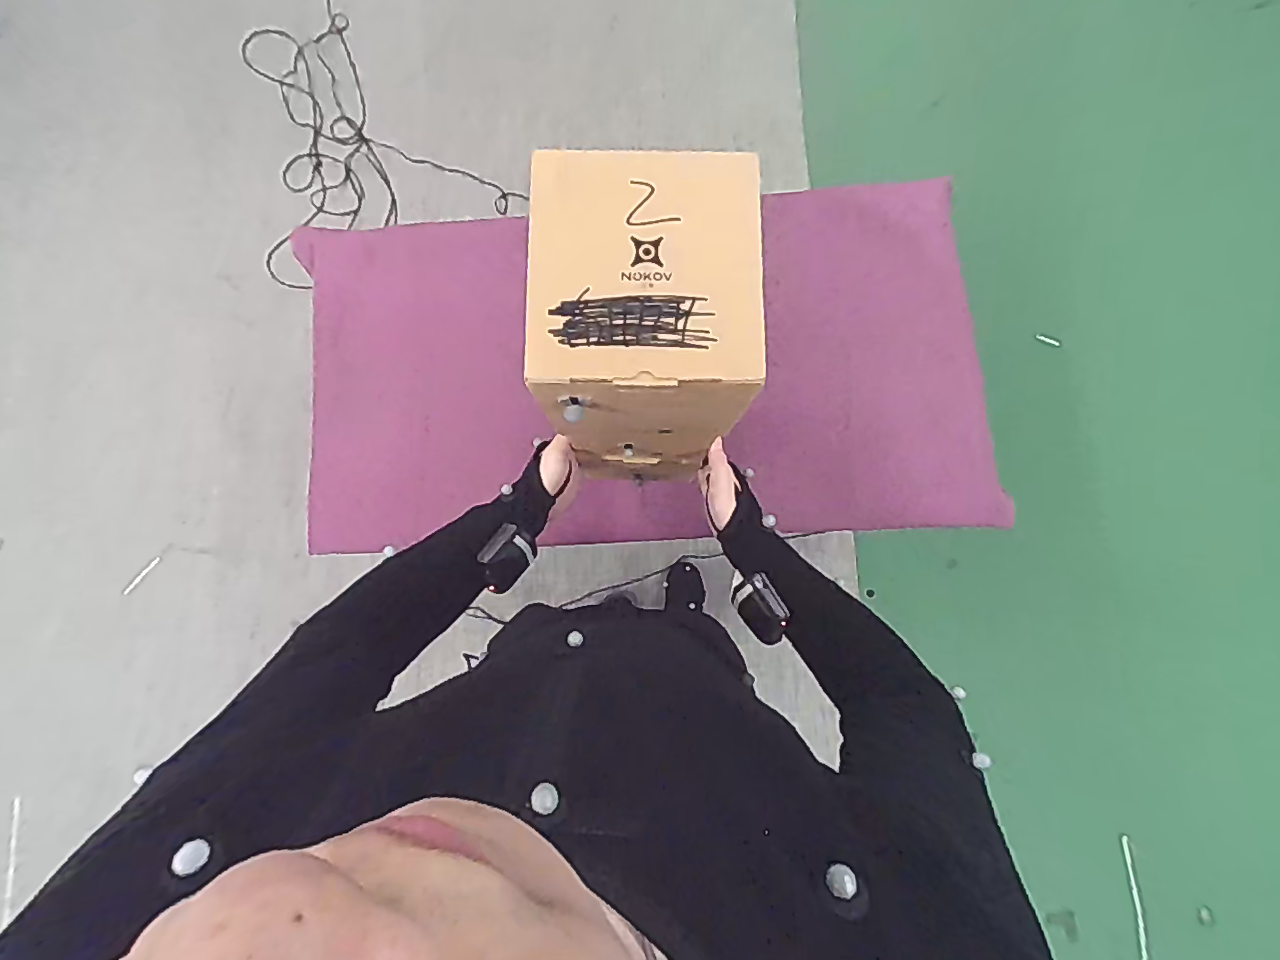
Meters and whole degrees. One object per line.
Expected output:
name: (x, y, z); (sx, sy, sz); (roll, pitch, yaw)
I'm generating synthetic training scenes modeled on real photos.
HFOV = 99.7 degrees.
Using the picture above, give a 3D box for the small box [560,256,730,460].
small box: (0.004, -0.126, 0.614); (0.168, 0.176, 0.179); (2, 83, -1)

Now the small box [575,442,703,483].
small box: (-0.001, -0.096, 0.774); (0.168, 0.176, 0.179); (2, 82, -1)
